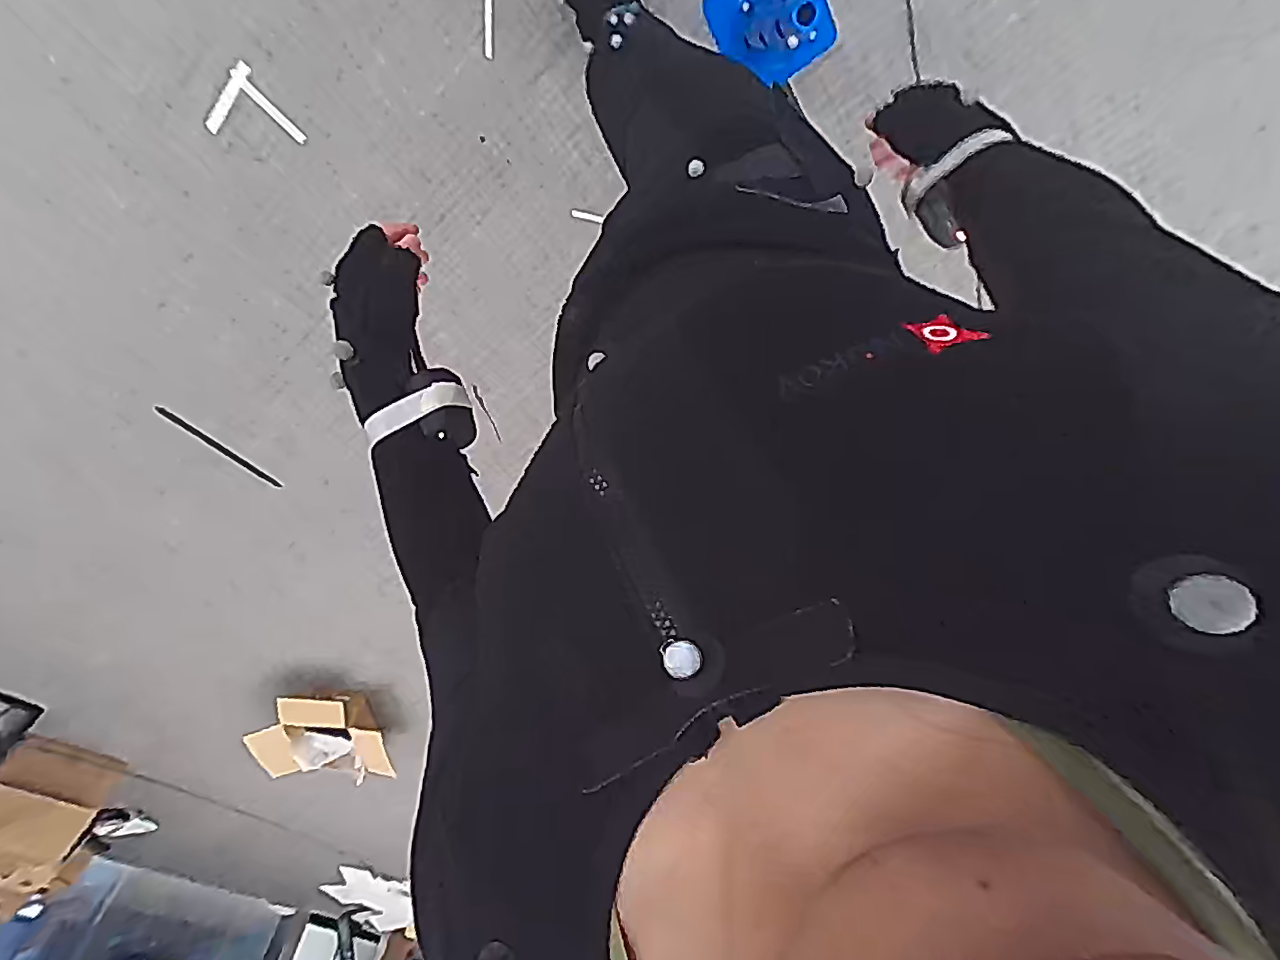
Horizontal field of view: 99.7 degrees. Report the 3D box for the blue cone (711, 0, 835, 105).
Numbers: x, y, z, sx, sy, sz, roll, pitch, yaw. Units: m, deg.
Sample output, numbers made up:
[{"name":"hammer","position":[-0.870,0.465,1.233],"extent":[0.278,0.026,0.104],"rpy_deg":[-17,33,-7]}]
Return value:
[{"name":"blue cone","position":[0.241,-0.744,0.875],"extent":[0.193,0.380,0.192],"rpy_deg":[-28,122,22]}]
